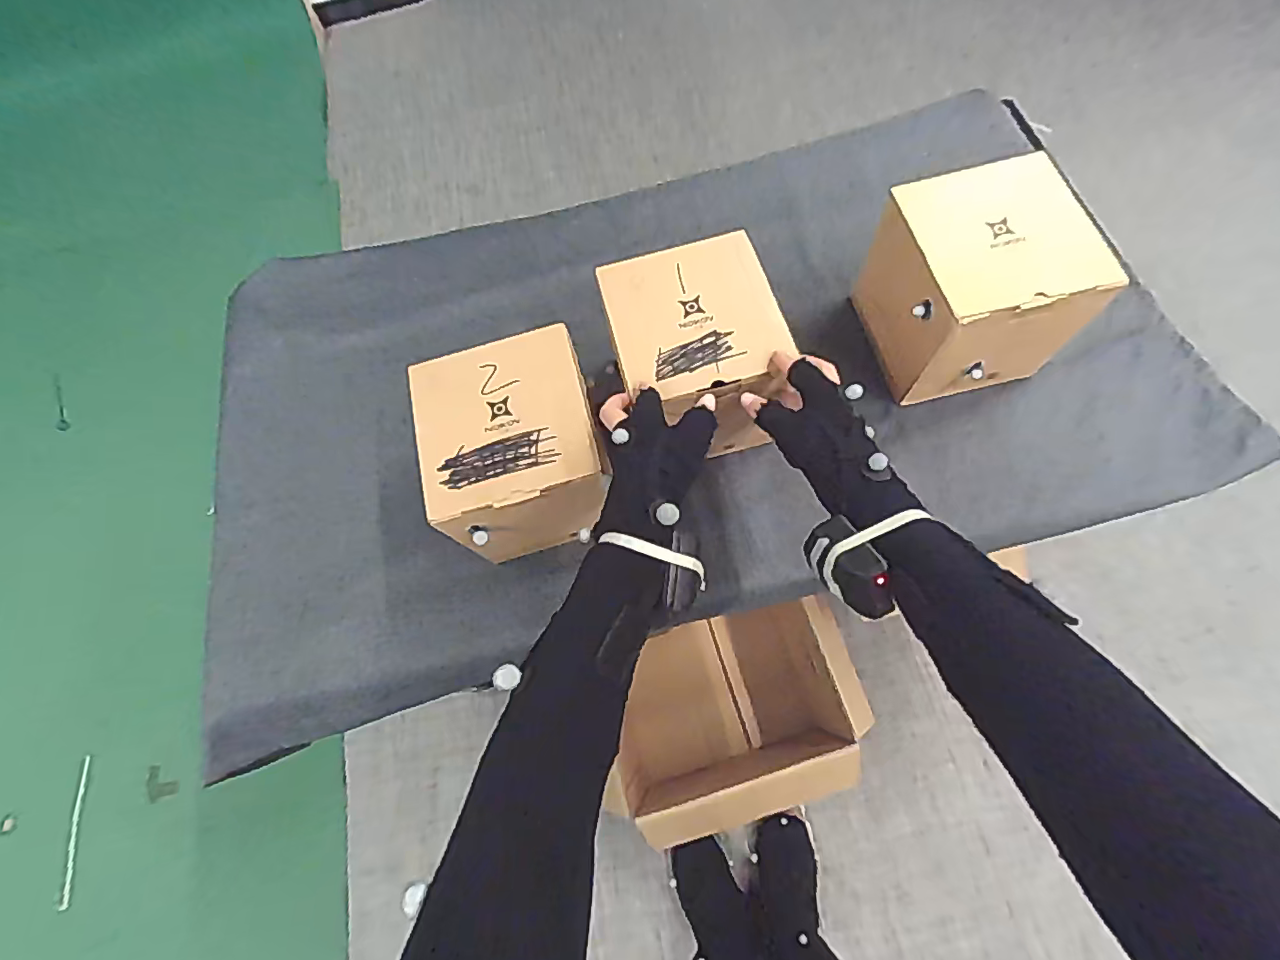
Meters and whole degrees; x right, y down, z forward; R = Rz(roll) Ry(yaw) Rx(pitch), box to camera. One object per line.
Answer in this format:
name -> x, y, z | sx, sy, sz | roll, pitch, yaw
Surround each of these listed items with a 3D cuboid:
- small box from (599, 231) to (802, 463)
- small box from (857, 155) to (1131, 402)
small box -> 0.062, -0.133, 0.605 | 0.168, 0.176, 0.179 | -15, 68, -1
small box -> 0.367, -0.215, 0.606 | 0.168, 0.176, 0.179 | -13, 69, 1
